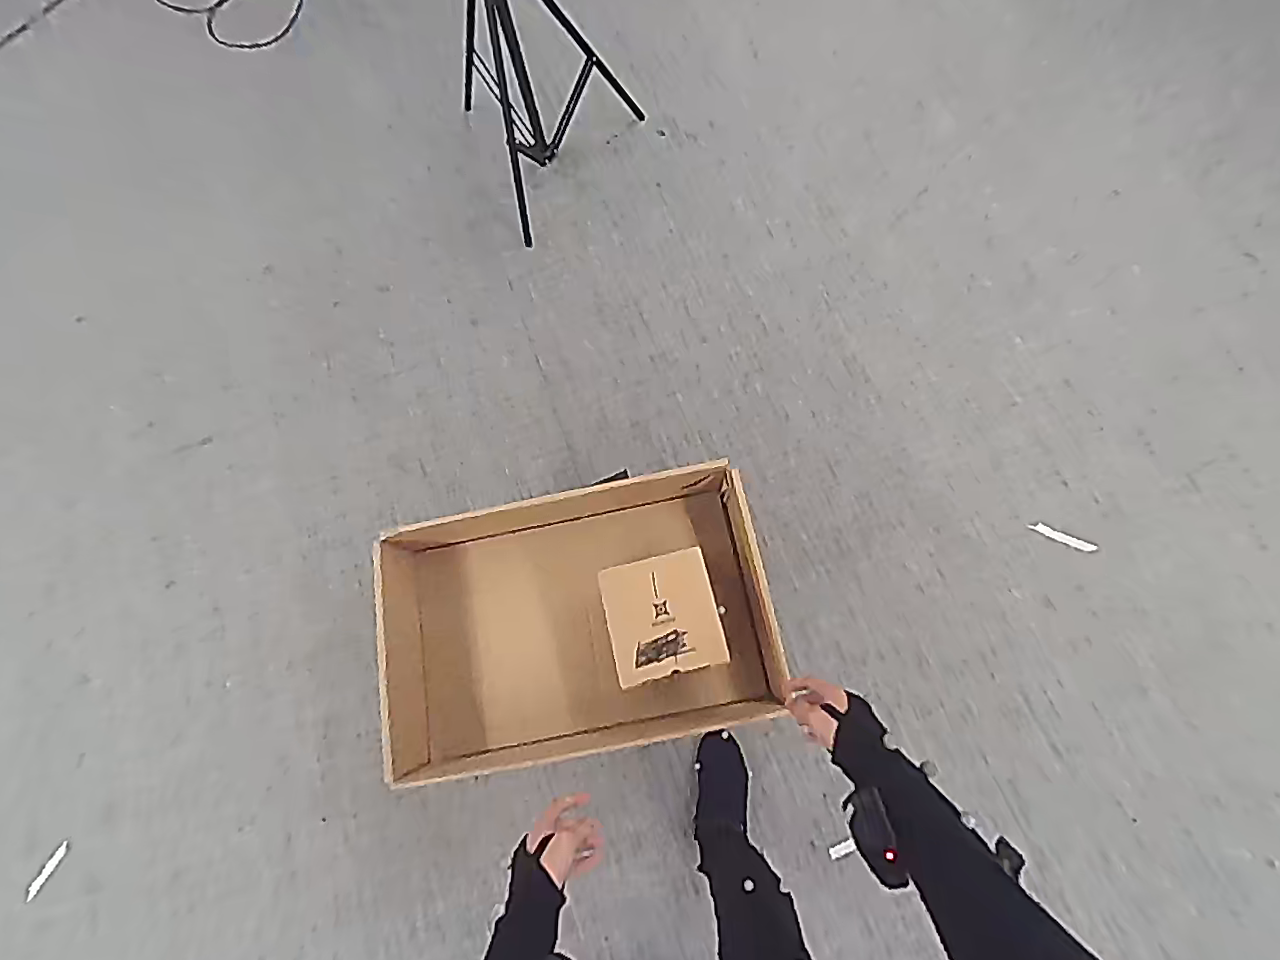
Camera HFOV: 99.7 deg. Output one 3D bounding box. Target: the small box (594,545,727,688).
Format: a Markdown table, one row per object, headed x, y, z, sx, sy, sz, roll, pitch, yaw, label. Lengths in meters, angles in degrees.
| x | y | z | sx | sy | sz | roll | pitch | yaw | label |
| --- | --- | --- | --- | --- | --- | --- | --- | --- | --- |
| 0.035 | 0.218 | 0.866 | 0.168 | 0.176 | 0.179 | -14 | 73 | 0 | small box |
